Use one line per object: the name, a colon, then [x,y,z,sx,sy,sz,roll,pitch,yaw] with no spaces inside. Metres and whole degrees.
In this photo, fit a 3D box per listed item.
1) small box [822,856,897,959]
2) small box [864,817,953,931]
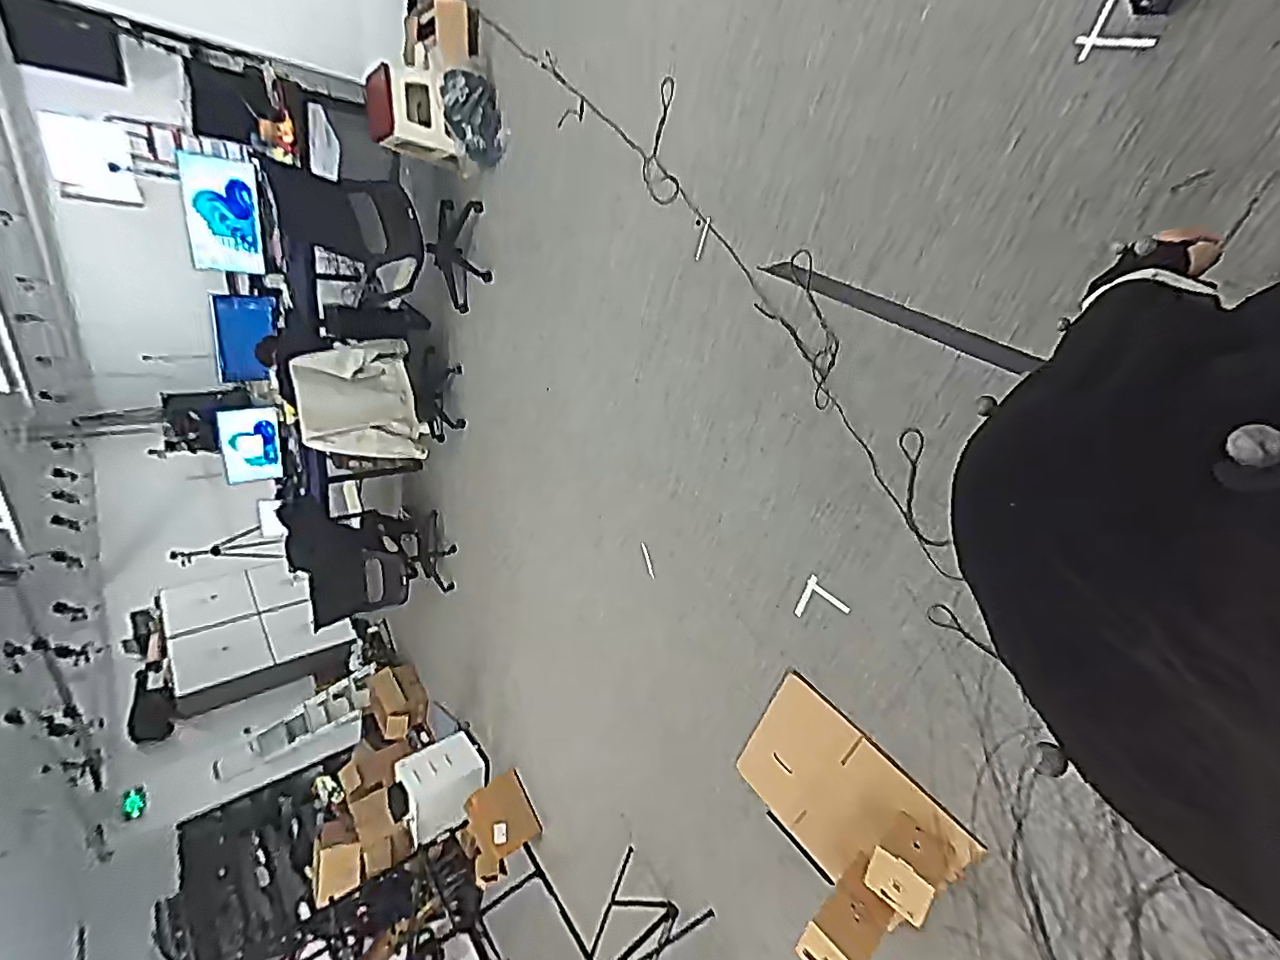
small box: [0.719,1.374,1.741,0.168,0.176,0.179,29,121,40]
small box: [0.795,1.148,1.591,0.168,0.176,0.179,25,117,42]
